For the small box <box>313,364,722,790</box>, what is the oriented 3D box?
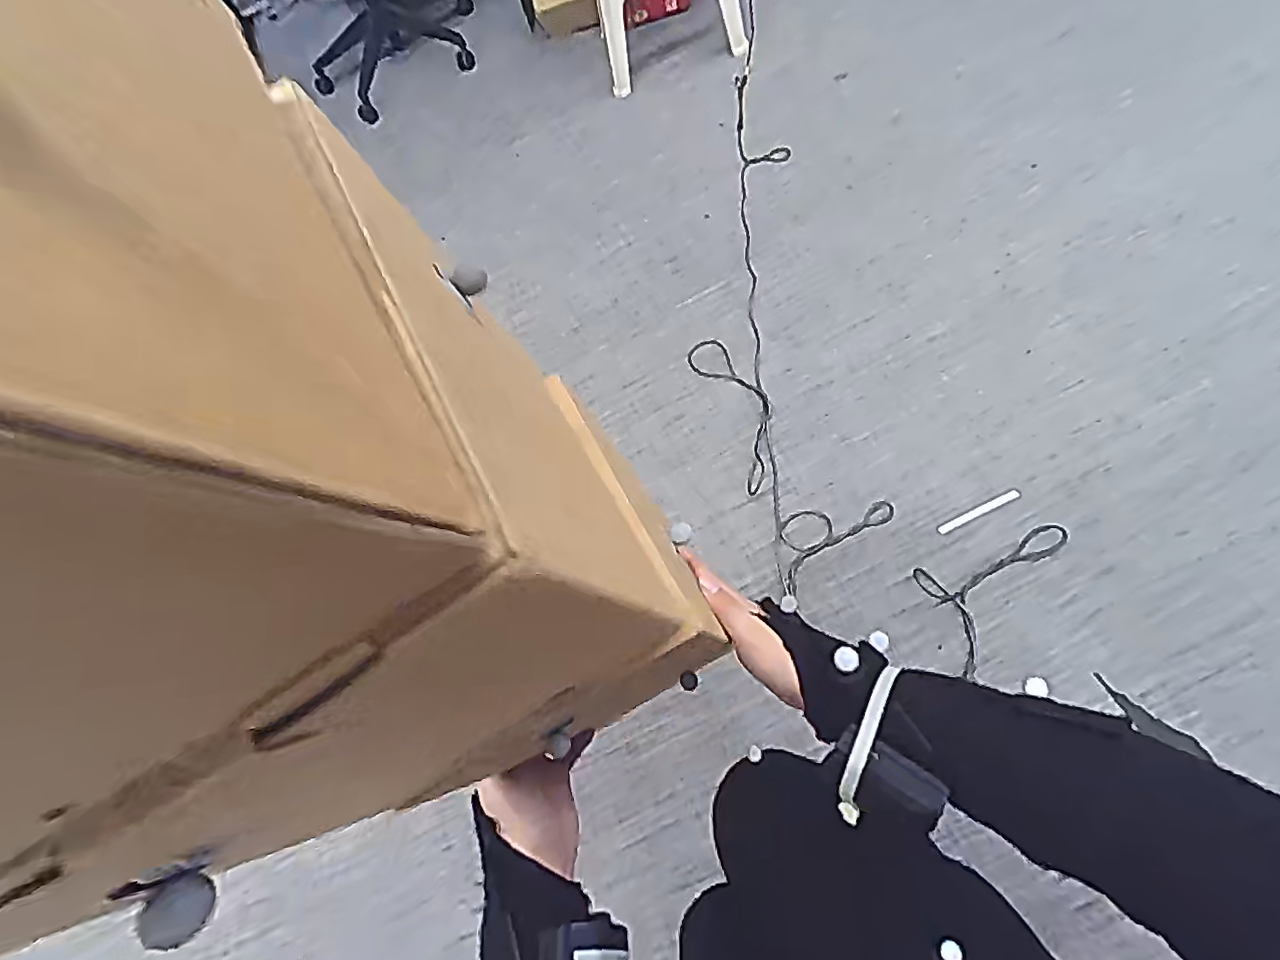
[{"bbox_3d":[-0.063,0.066,0.355,0.179,0.176,0.168,-31,68,2],"label":"small box"}]
